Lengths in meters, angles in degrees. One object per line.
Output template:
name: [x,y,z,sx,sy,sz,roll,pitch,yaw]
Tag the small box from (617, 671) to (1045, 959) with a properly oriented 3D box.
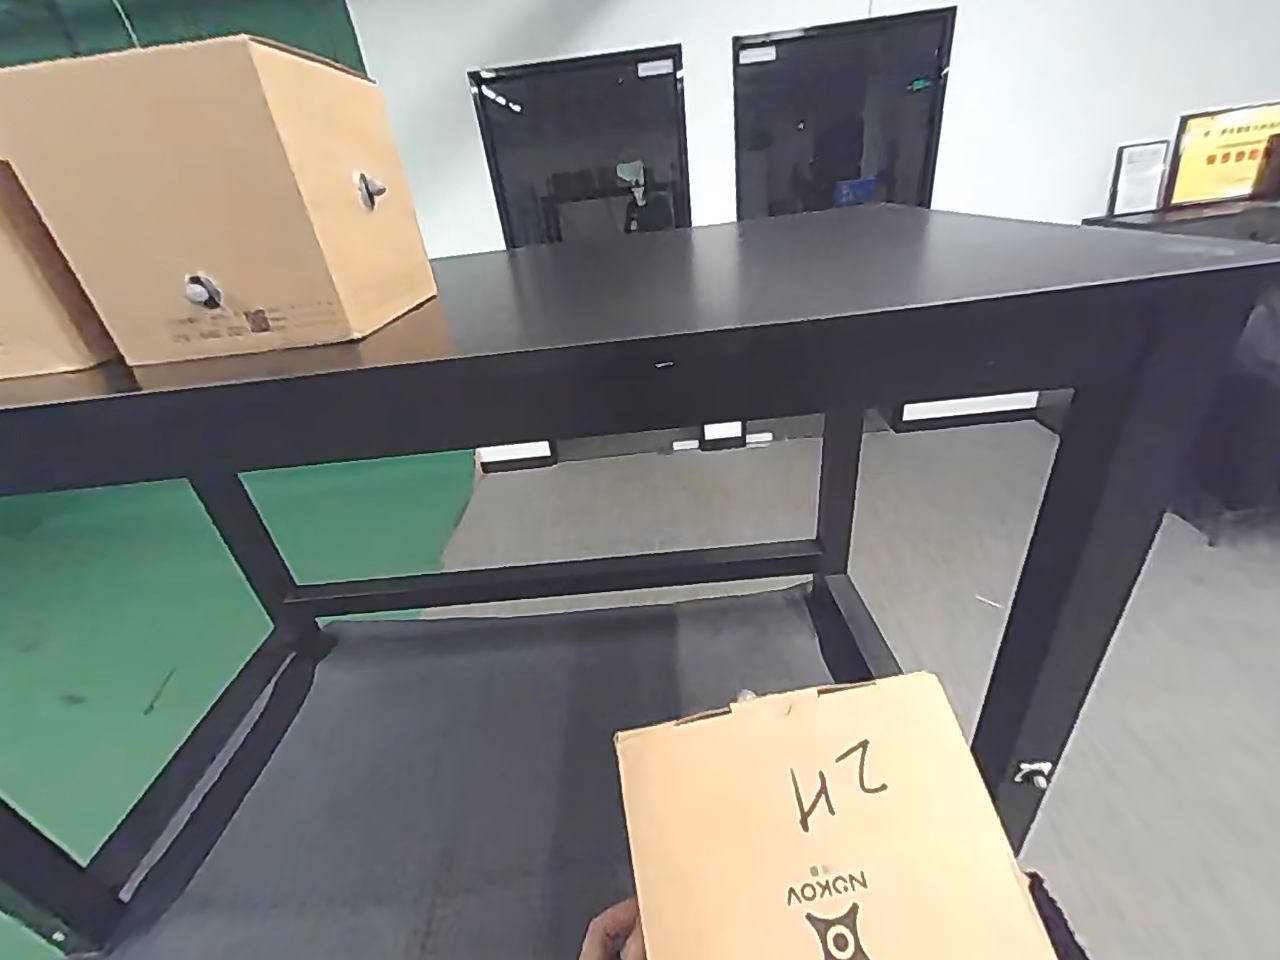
small box: [0.087,0.221,0.306,0.168,0.176,0.179,-11,63,-2]
